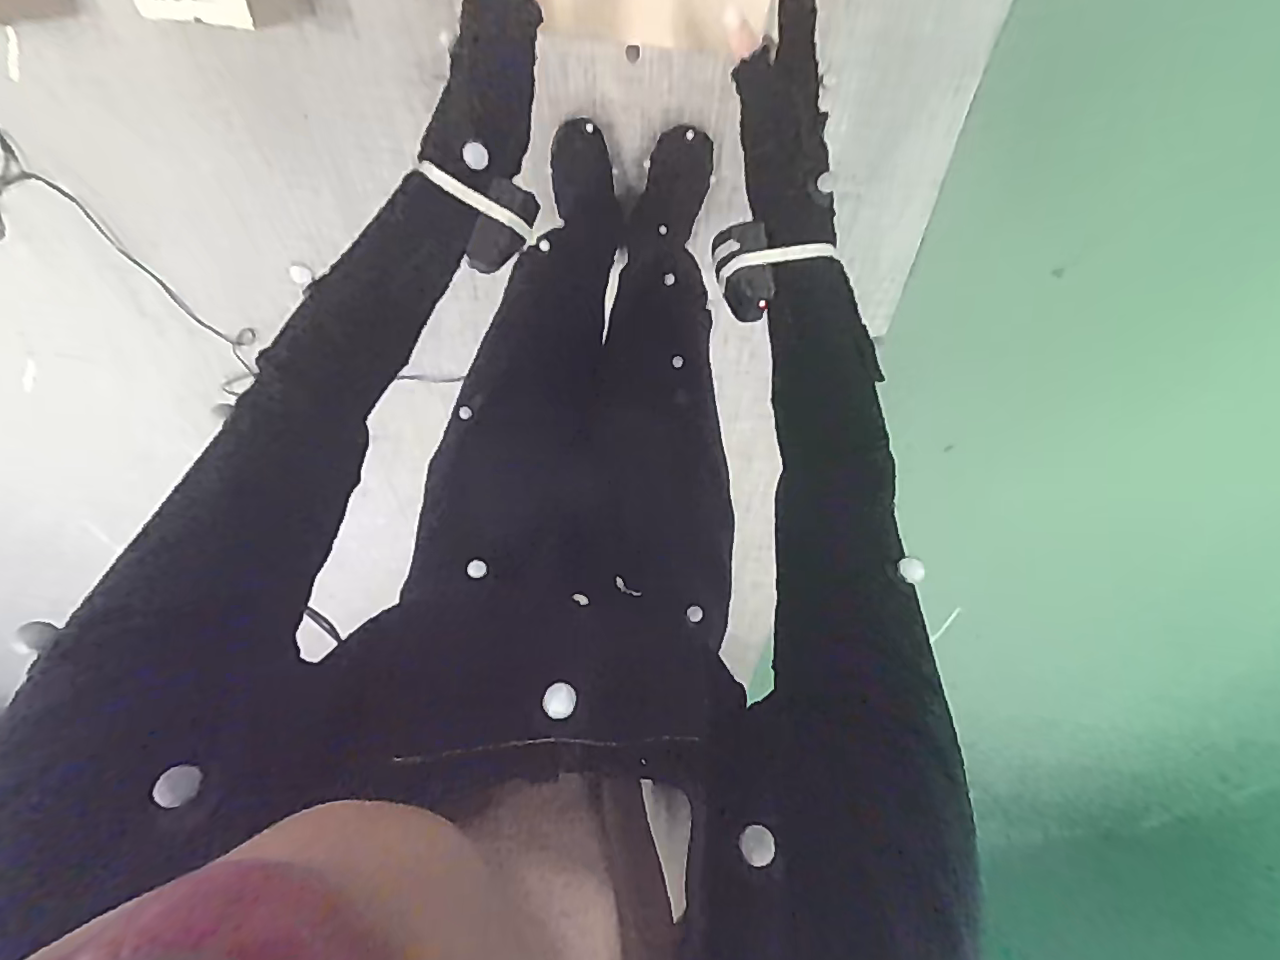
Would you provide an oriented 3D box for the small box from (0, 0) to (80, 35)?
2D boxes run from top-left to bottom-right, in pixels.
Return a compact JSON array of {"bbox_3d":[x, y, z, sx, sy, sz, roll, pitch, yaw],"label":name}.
[{"bbox_3d":[-1.017,-0.777,0.794,0.168,0.176,0.179,2,136,3],"label":"small box"}]

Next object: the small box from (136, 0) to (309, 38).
[{"bbox_3d":[-0.615,-0.763,0.772,0.168,0.176,0.179,6,135,-1],"label":"small box"}]
